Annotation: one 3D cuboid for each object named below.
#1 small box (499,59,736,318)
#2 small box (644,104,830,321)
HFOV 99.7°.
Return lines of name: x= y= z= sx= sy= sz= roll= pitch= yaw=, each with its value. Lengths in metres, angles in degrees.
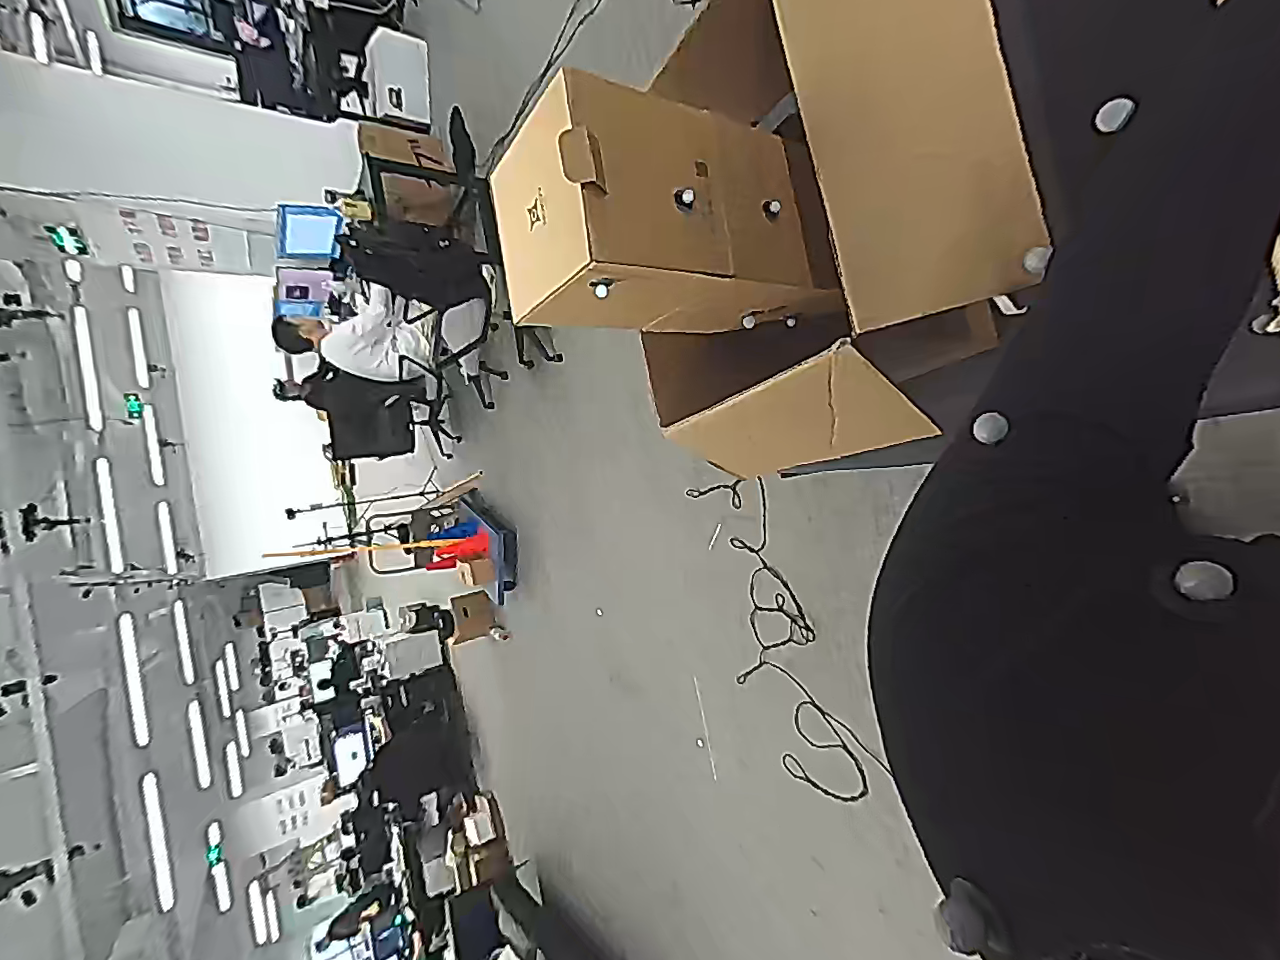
small box: x=-0.027 y=-0.275 z=0.564 sx=0.179 sy=0.176 sz=0.168 roll=-8 pitch=92 yaw=54
small box: x=0.103 y=-0.301 z=0.656 sx=0.168 sy=0.176 sz=0.179 roll=-9 pitch=93 yaw=54
